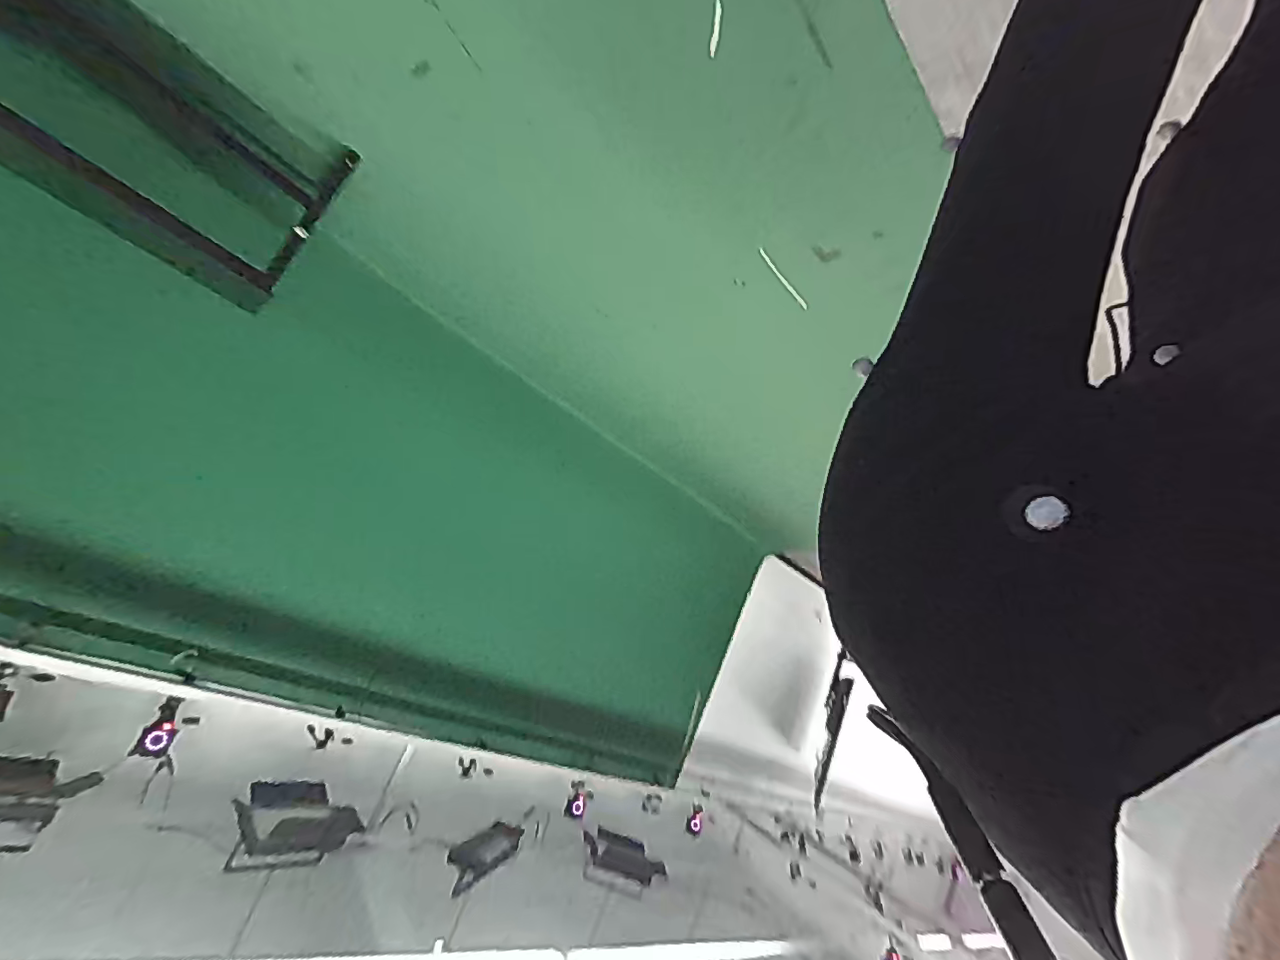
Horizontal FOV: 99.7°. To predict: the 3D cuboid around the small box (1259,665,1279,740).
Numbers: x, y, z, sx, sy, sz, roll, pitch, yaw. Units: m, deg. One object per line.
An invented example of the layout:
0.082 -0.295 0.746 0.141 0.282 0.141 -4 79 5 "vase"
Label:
1.763 0.609 1.412 0.179 0.176 0.168 32 165 -32 "small box"
